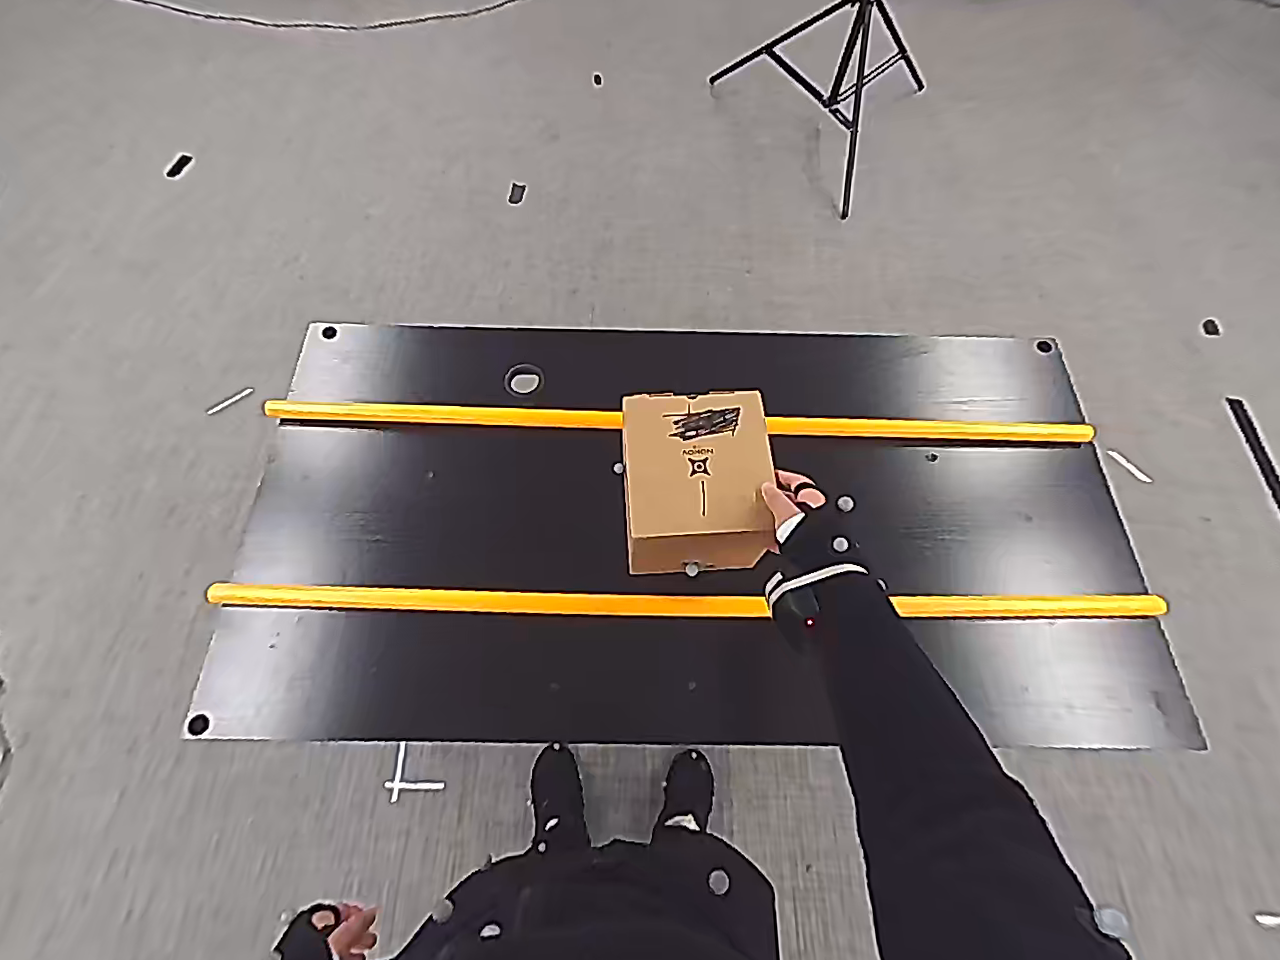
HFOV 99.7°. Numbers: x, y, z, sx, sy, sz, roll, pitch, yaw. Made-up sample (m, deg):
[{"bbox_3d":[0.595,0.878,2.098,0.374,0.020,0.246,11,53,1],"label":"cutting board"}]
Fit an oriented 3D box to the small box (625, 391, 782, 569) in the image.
[{"bbox_3d":[0.066,0.006,0.687,0.168,0.176,0.179,-3,67,-2],"label":"small box"}]
